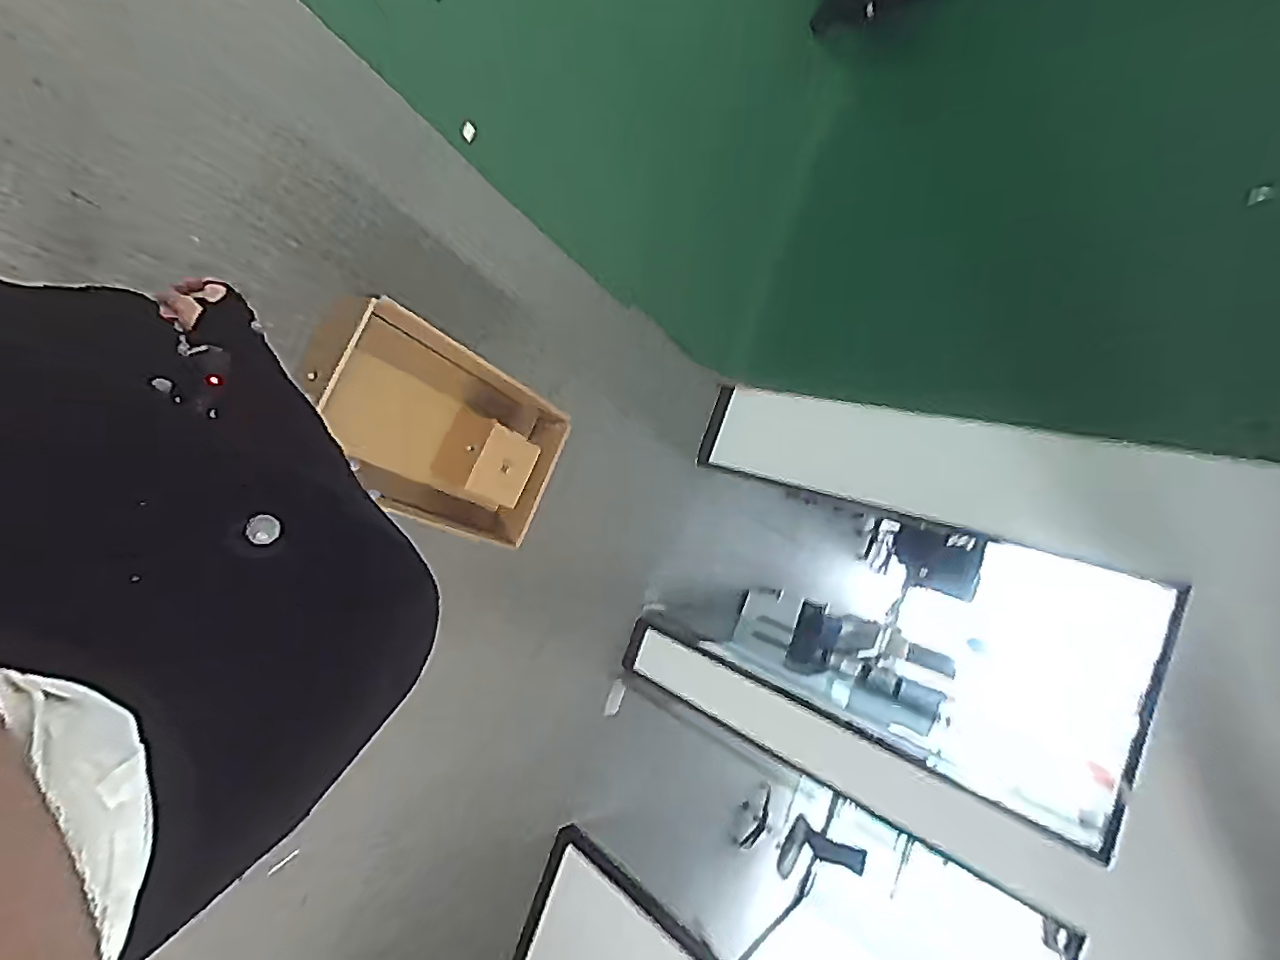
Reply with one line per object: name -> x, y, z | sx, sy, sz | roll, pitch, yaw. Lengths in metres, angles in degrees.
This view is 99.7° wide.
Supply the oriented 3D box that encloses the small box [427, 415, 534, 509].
small box -> -0.414, -0.049, 1.392 | 0.168, 0.176, 0.179 | 35, 76, -52
